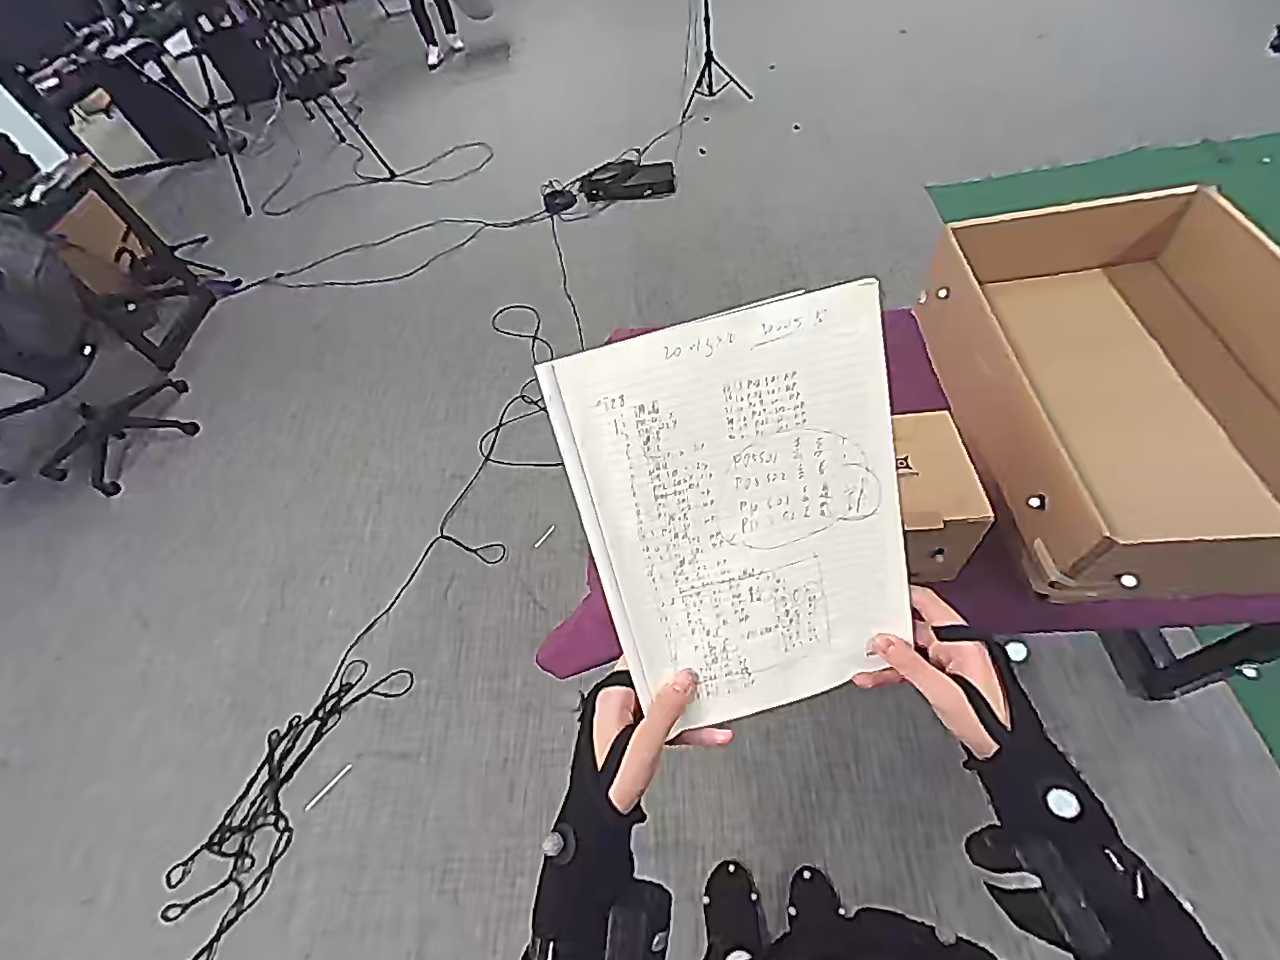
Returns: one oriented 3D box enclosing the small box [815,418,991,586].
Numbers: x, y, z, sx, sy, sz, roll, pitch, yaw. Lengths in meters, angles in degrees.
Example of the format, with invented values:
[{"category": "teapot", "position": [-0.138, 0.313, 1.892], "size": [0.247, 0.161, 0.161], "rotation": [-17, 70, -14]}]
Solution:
[{"category": "small box", "position": [0.347, 0.039, 0.753], "size": [0.168, 0.176, 0.179], "rotation": [-4, 52, 8]}]
